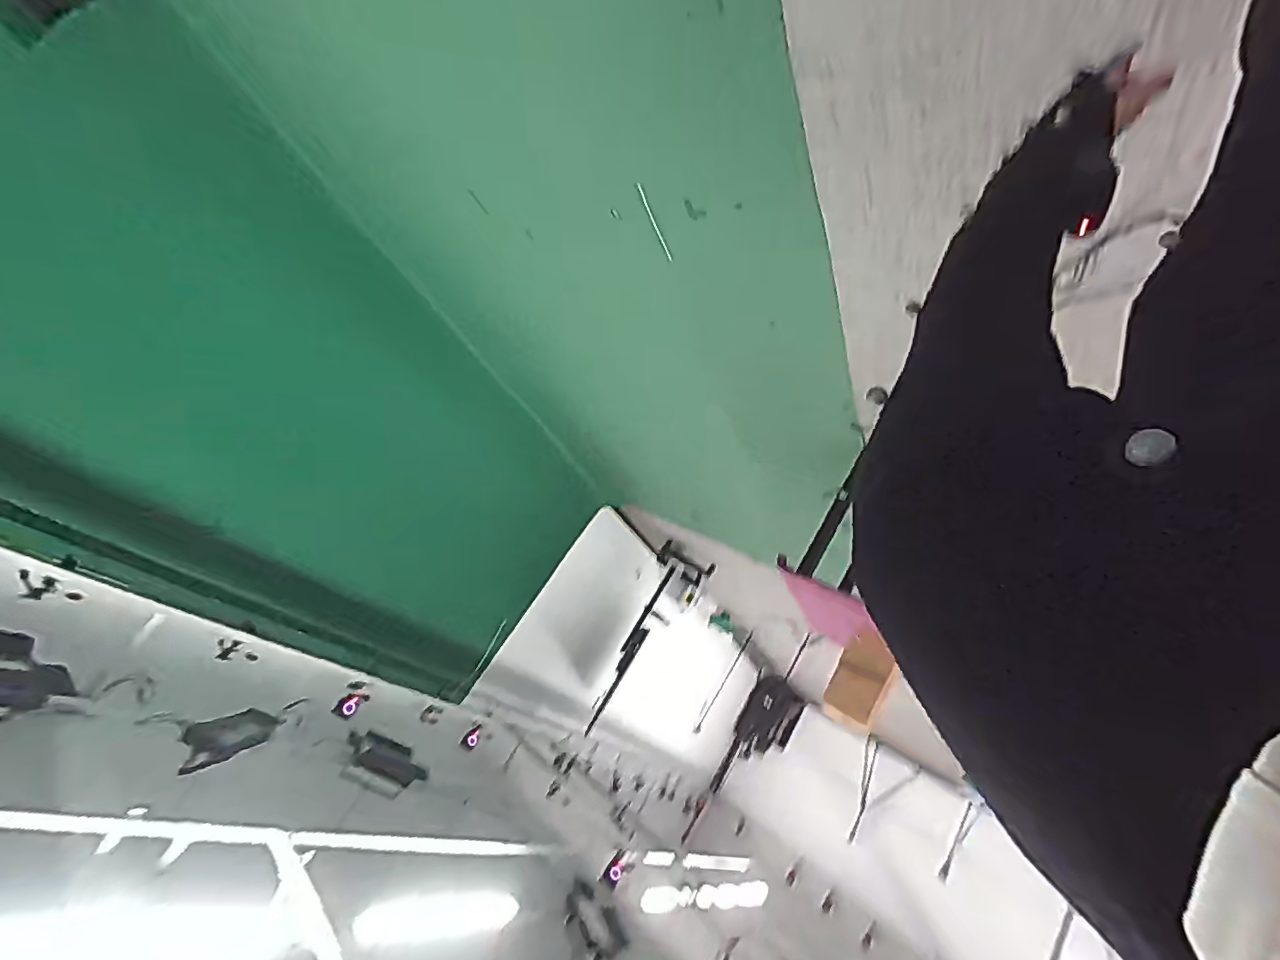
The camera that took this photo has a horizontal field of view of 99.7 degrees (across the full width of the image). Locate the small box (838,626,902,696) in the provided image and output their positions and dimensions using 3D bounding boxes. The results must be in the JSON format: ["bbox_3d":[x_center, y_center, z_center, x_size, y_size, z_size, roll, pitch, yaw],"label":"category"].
[{"bbox_3d":[0.878,0.682,2.049,0.179,0.176,0.168,22,160,37],"label":"small box"}]
